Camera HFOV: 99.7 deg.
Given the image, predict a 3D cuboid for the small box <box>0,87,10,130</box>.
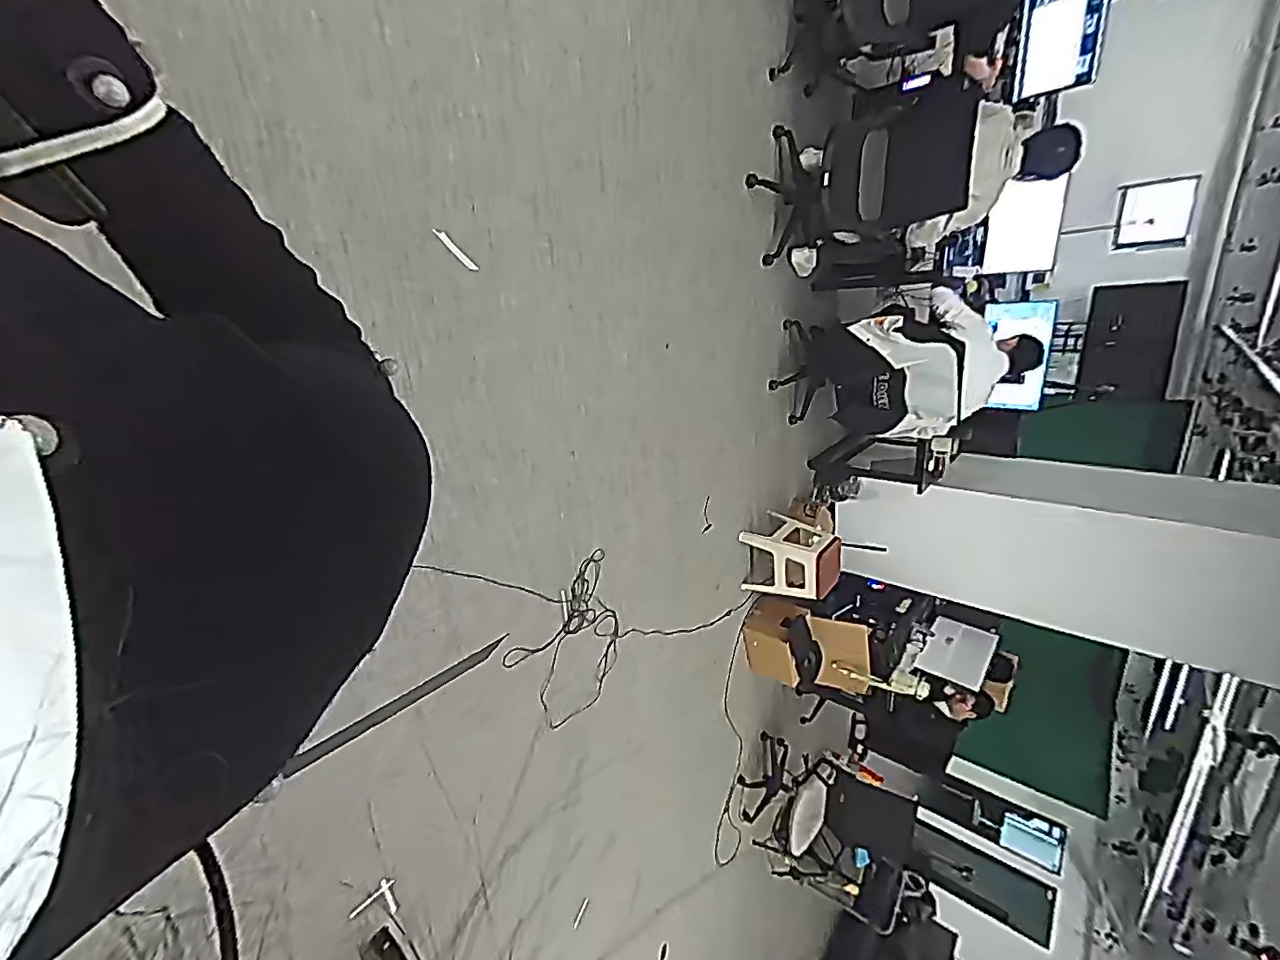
[{"bbox_3d":[-0.770,-0.440,0.519,0.179,0.176,0.168,-22,117,-47],"label":"small box"}]
